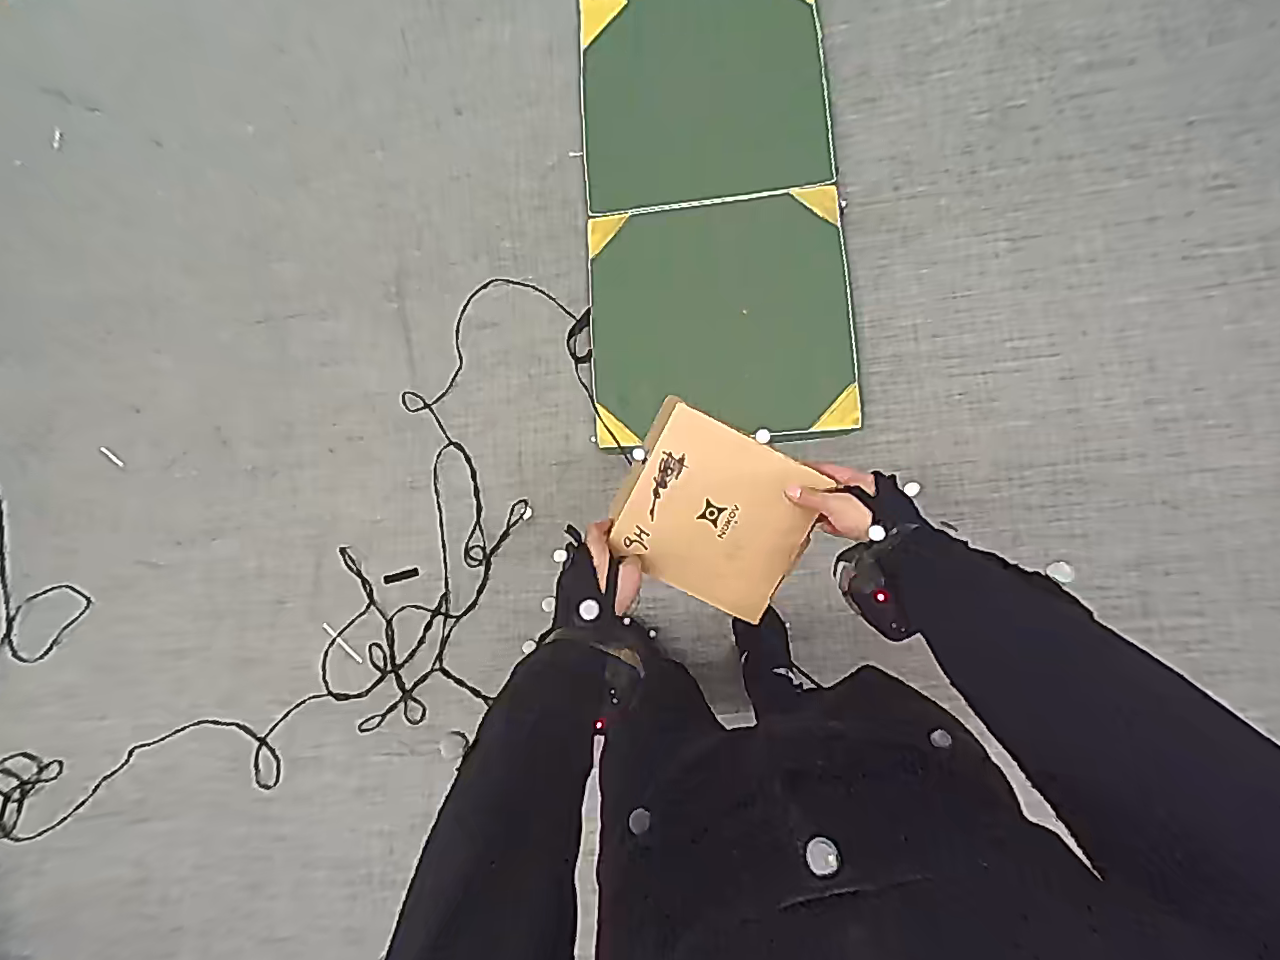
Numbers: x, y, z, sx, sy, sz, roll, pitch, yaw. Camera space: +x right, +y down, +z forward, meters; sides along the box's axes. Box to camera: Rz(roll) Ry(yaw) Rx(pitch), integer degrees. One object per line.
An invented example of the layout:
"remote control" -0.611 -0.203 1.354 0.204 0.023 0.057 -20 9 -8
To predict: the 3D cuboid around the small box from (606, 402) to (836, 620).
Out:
"small box" 0.079 0.020 0.606 0.179 0.176 0.168 26 99 -5
